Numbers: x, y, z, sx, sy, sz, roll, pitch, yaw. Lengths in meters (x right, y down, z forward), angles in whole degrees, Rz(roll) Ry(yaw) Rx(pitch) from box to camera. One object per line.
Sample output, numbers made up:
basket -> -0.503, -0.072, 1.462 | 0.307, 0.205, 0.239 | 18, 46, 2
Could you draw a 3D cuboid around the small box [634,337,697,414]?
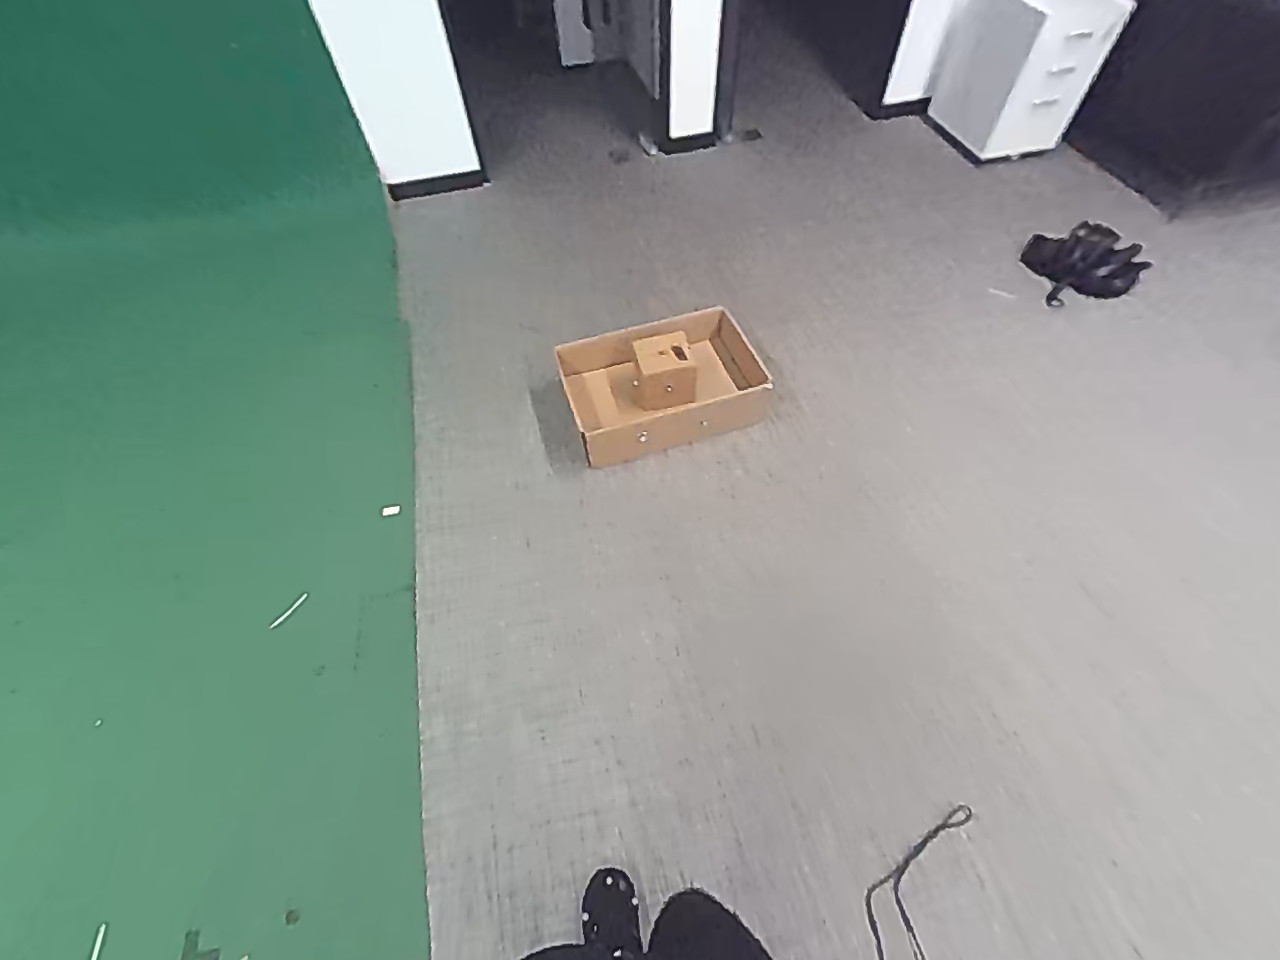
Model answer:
small box -> 0.084, -0.344, 1.797 | 0.179, 0.176, 0.168 | -12, 55, -3
